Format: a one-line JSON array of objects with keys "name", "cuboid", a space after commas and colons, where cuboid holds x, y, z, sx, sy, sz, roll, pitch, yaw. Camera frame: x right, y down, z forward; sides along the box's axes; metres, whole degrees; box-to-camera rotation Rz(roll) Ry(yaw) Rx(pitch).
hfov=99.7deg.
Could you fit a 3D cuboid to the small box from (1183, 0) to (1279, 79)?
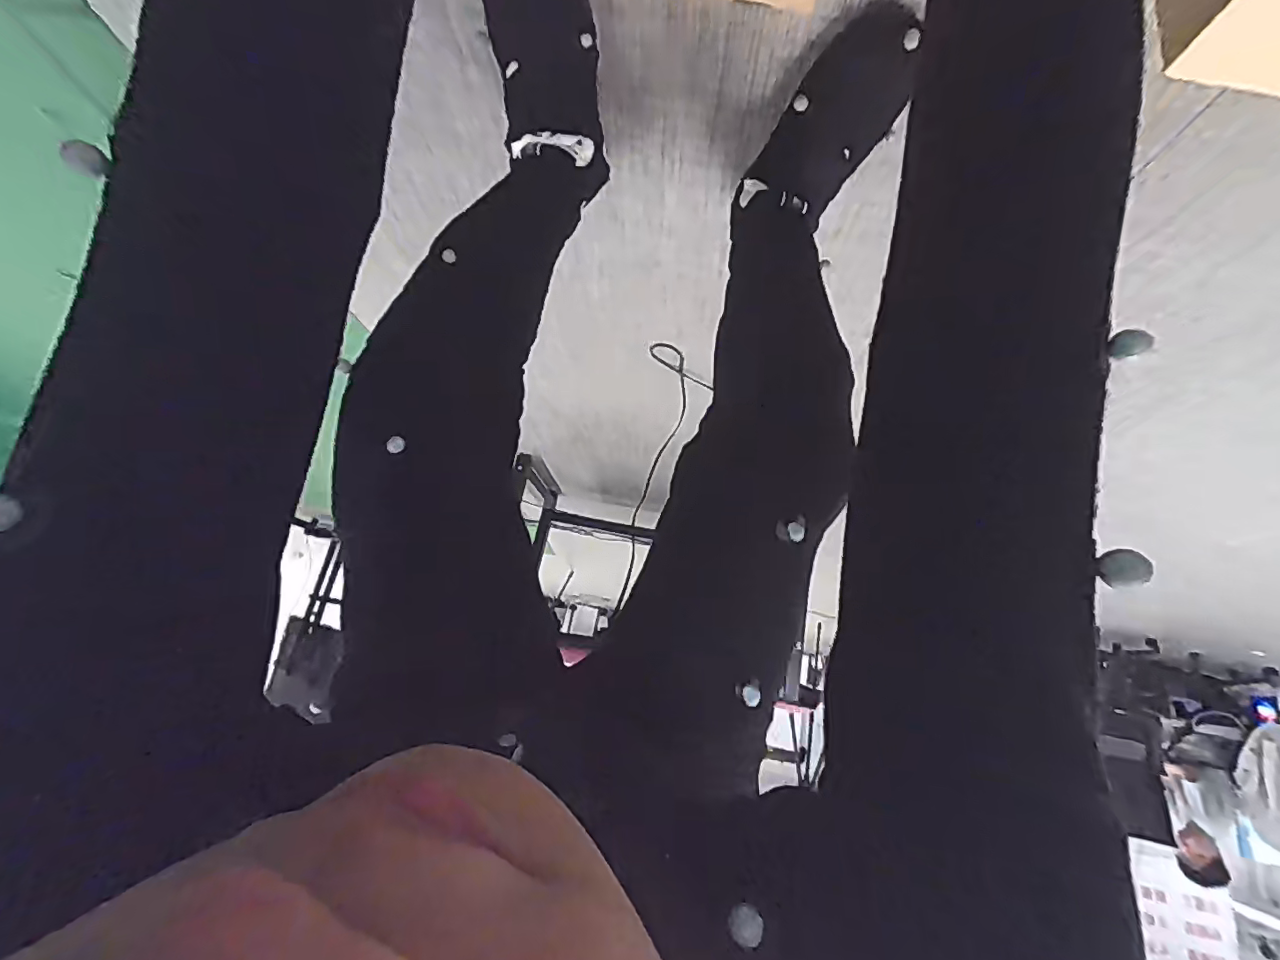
[{"name": "small box", "cuboid": [0.496, -0.389, 0.339, 0.179, 0.176, 0.168, 11, 163, 2]}]
